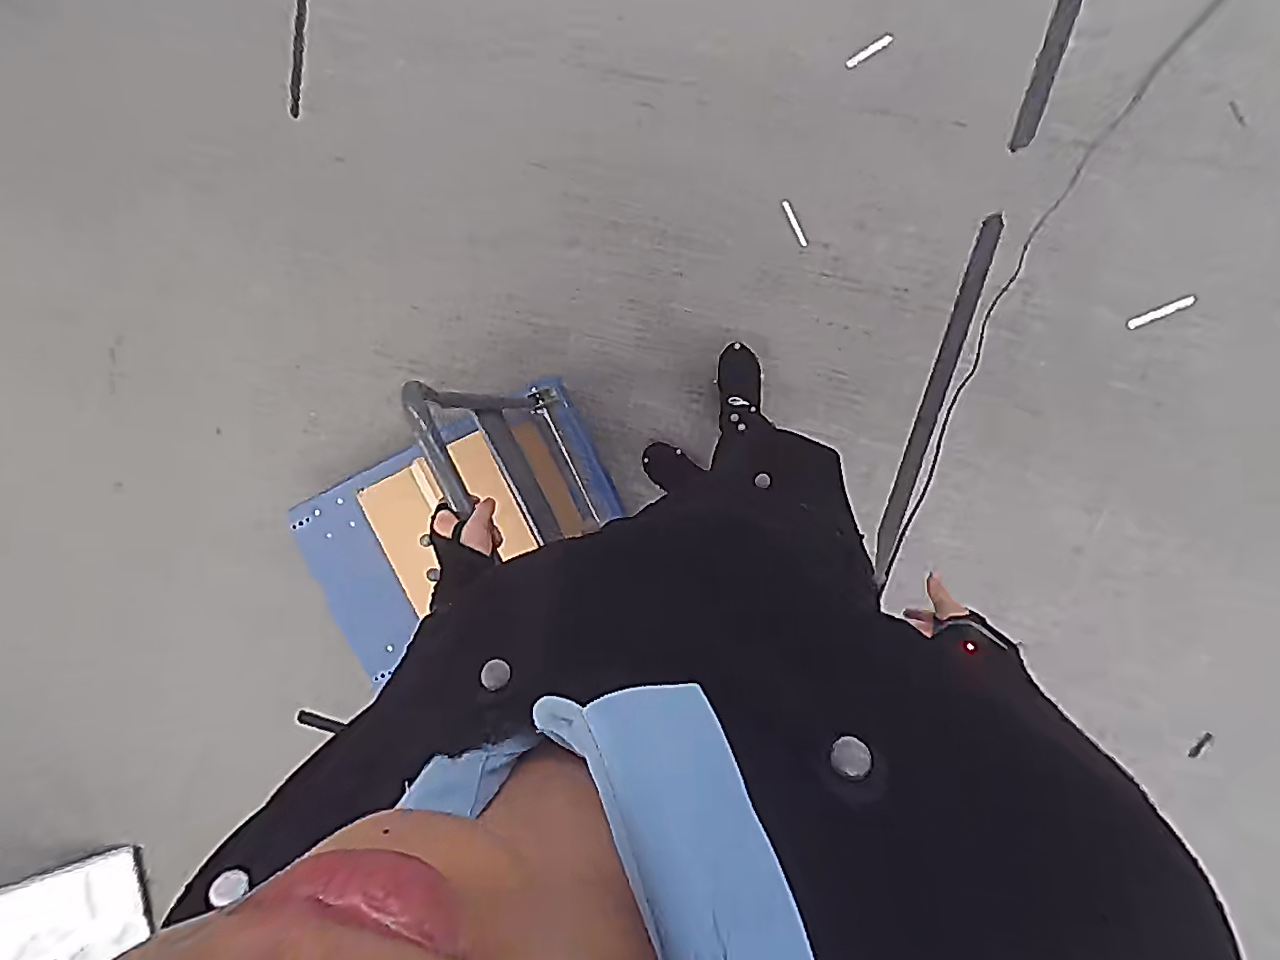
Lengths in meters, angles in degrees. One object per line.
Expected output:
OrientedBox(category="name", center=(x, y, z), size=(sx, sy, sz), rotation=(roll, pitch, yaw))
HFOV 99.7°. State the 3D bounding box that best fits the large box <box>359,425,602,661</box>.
OrientedBox(category="large box", center=(-0.333, 0.123, 1.233), size=(0.320, 0.320, 0.408), rotation=(-25, 94, 11))
